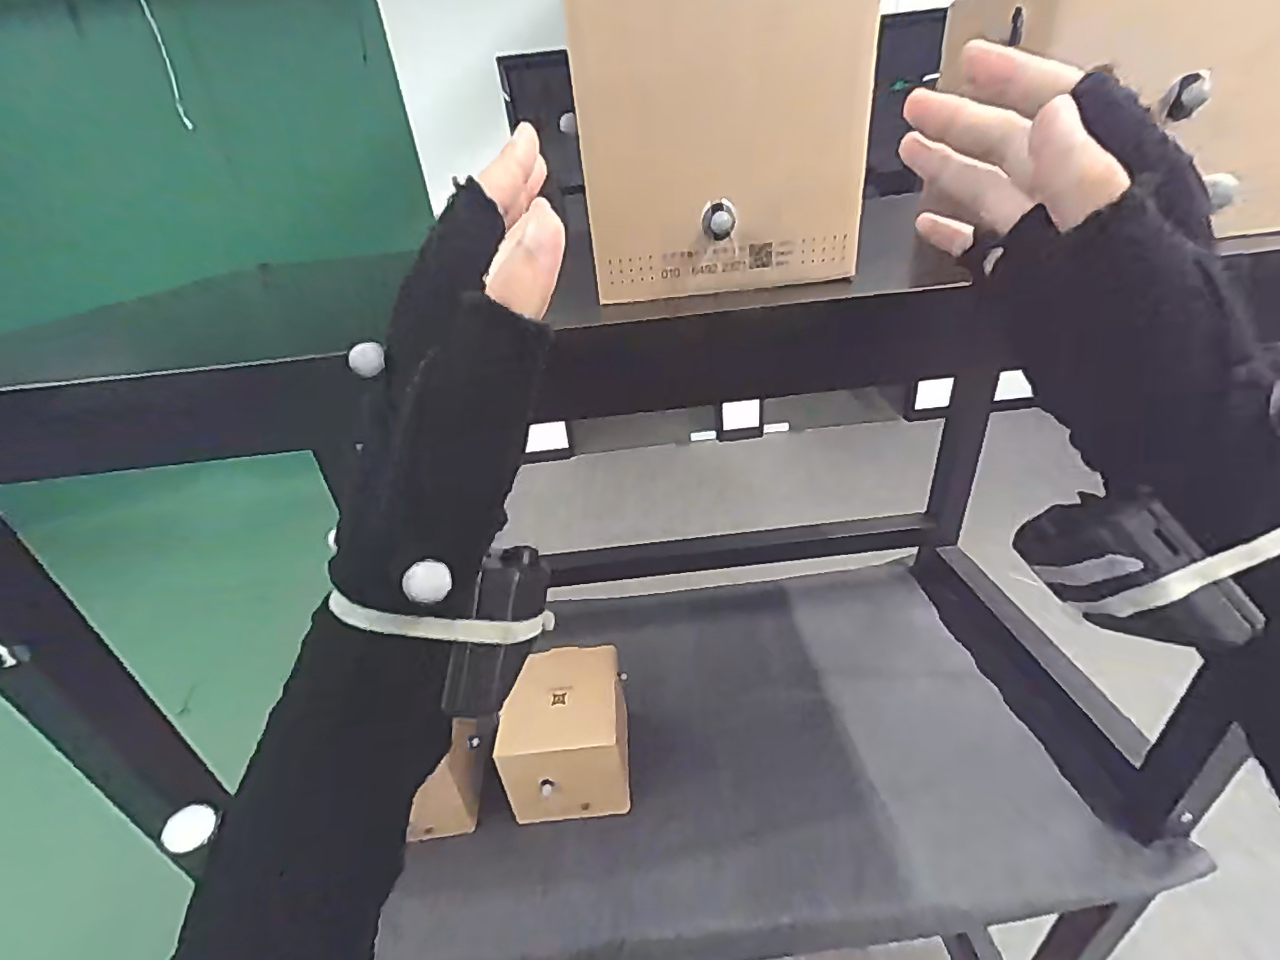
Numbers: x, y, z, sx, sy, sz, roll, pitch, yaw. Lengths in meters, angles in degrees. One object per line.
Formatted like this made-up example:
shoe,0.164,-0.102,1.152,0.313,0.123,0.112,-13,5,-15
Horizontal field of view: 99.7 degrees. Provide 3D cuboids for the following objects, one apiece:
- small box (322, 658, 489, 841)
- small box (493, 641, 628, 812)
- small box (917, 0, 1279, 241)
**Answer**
small box,-0.335,0.401,0.816,0.168,0.176,0.179,-7,30,-2
small box,-0.109,0.376,0.821,0.168,0.176,0.179,-6,29,0
small box,0.317,-0.269,0.380,0.168,0.176,0.179,-2,29,8
